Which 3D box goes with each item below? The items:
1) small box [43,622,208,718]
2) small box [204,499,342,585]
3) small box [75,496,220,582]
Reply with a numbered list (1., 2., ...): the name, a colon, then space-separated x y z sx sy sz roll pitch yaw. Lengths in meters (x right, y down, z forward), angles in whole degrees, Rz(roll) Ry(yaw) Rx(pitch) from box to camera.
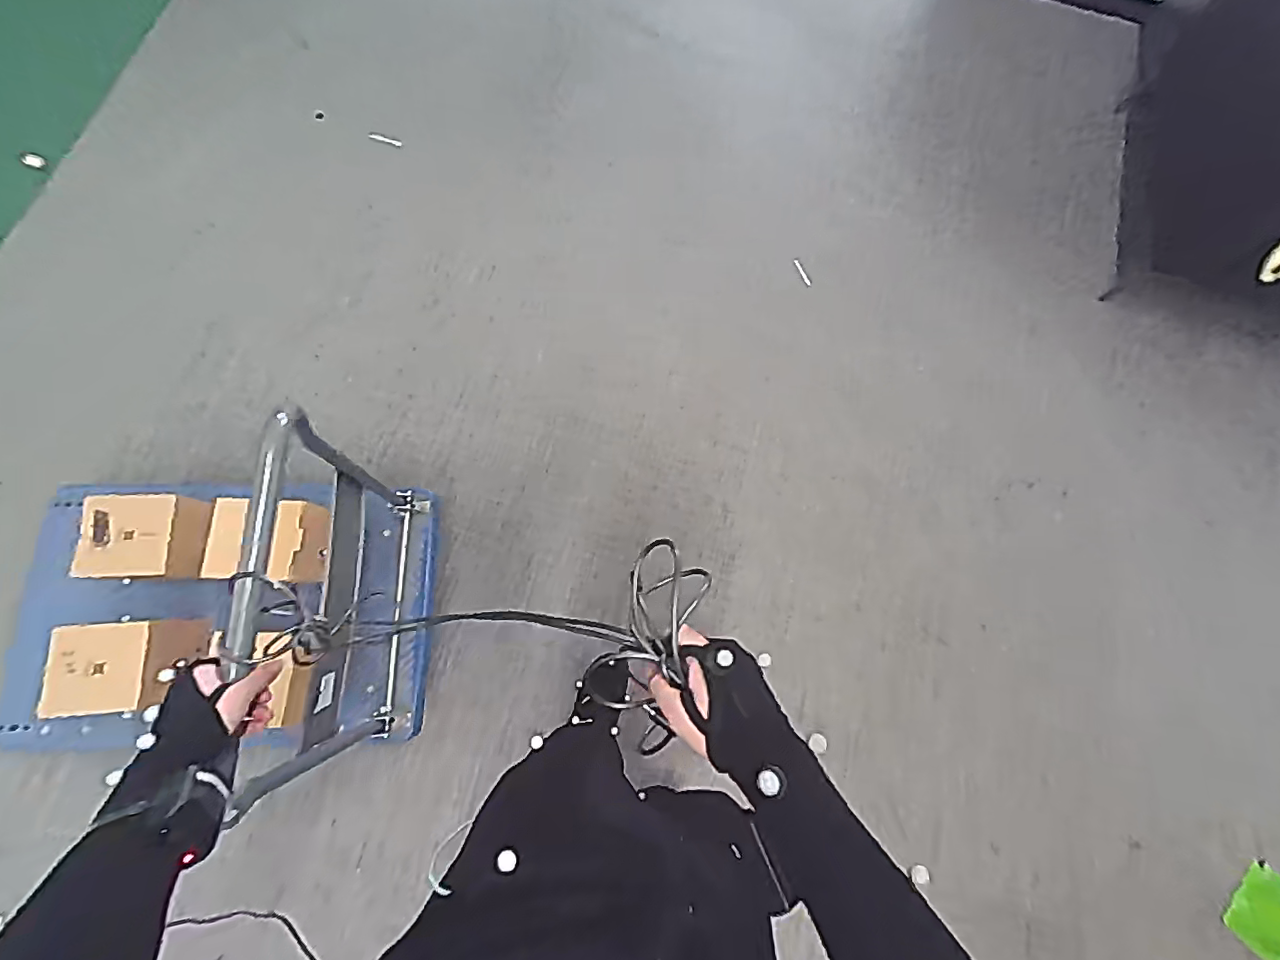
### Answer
1. small box: -1.037 0.381 1.109 0.179 0.176 0.168 -2 76 -5
2. small box: -0.793 0.141 1.187 0.179 0.176 0.168 2 76 -4
3. small box: -1.038 0.132 1.170 0.179 0.176 0.168 -1 77 -5
